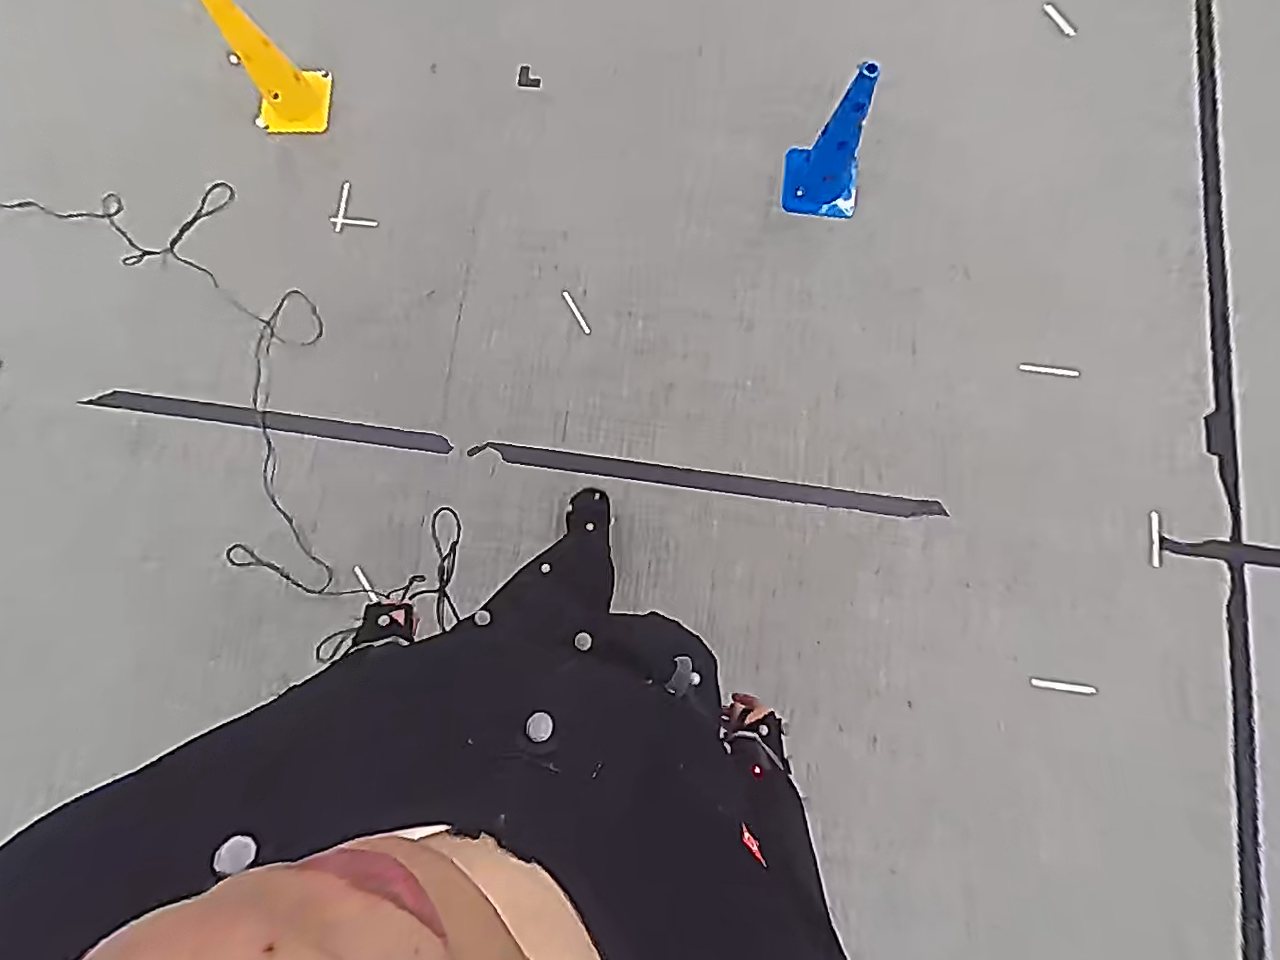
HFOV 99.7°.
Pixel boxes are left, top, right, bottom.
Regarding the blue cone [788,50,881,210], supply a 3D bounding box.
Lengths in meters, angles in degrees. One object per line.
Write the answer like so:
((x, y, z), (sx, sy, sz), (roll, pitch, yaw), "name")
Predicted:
((0.503, -0.865, 1.337), (0.193, 0.380, 0.192), (8, 81, 2), "blue cone")
